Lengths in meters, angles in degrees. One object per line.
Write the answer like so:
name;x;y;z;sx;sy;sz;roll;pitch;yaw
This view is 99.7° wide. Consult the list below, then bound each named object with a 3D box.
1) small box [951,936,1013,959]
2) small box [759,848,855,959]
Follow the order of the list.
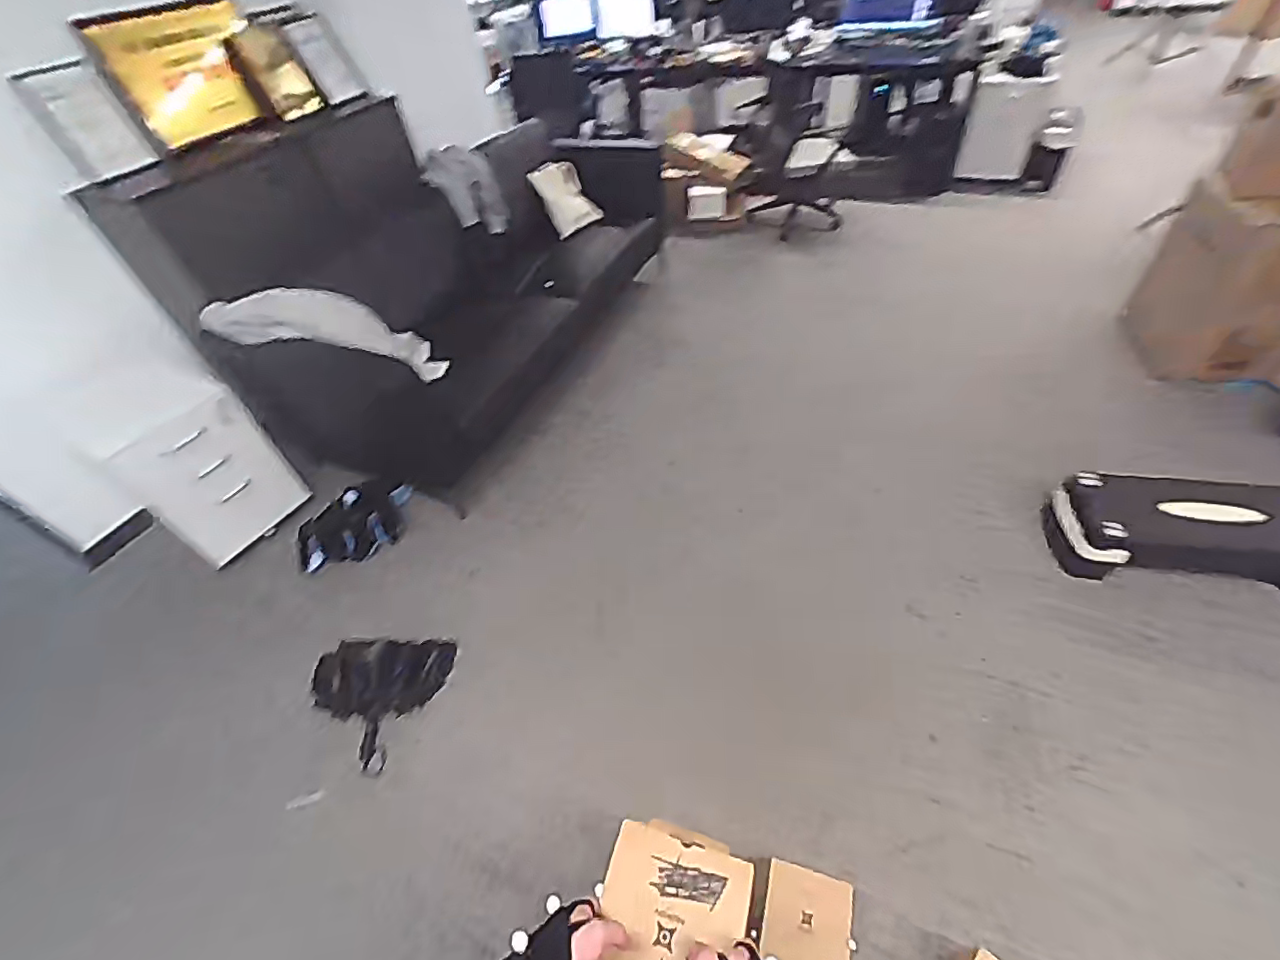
small box;0.654;0.993;0.989;0.168;0.176;0.179;31;59;33
small box;0.343;0.907;1.123;0.168;0.176;0.179;9;48;16
